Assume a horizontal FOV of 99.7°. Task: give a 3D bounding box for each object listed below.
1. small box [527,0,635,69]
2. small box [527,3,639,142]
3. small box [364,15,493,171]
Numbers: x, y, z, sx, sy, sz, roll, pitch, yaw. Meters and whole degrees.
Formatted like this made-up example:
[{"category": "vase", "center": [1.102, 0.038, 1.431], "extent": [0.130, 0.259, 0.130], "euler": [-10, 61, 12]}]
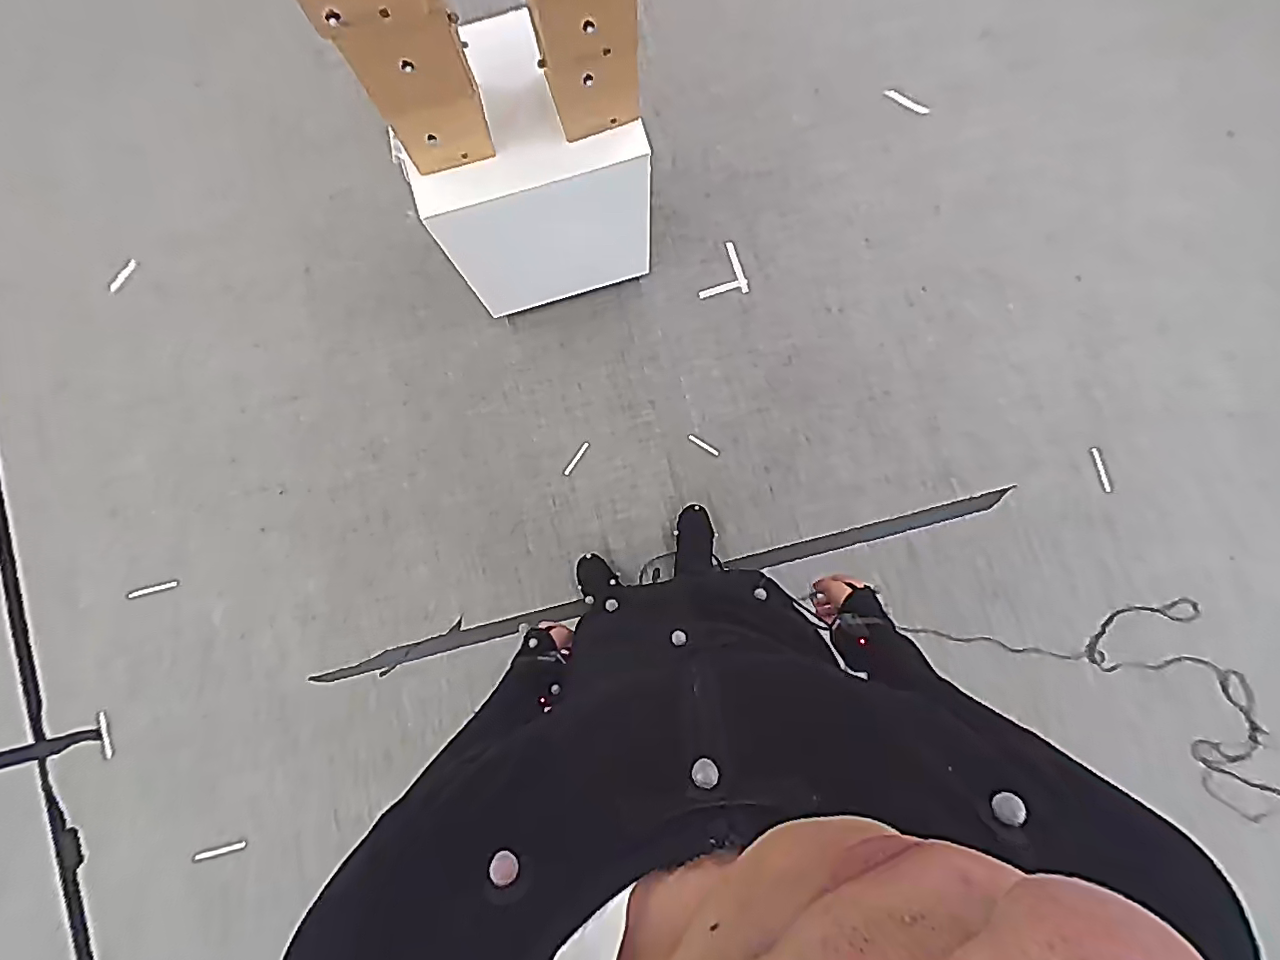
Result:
[{"category": "small box", "center": [-0.109, -0.831, 0.897], "extent": [0.168, 0.176, 0.179], "euler": [-18, 85, 0]}, {"category": "small box", "center": [-0.105, -0.818, 1.062], "extent": [0.168, 0.176, 0.179], "euler": [-19, 85, 1]}, {"category": "small box", "center": [-0.404, -0.742, 1.062], "extent": [0.168, 0.176, 0.179], "euler": [-16, 85, -1]}]
